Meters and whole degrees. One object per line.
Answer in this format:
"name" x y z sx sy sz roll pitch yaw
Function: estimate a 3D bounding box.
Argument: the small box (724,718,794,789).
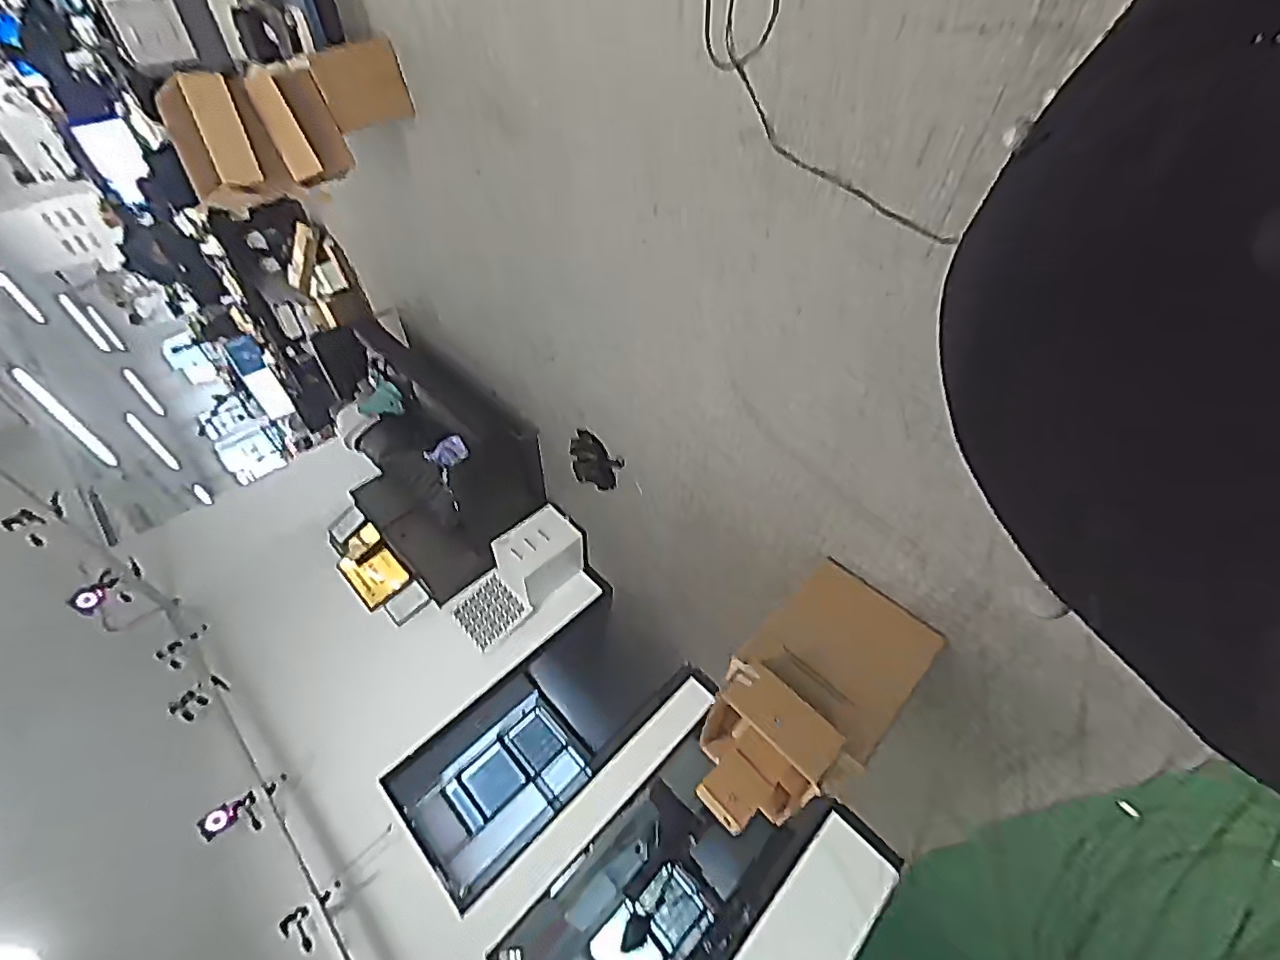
"small box" 0.413 0.971 1.910 0.179 0.176 0.168 39 150 28

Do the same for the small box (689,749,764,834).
"small box" 0.294 1.053 1.832 0.179 0.176 0.168 41 150 26
